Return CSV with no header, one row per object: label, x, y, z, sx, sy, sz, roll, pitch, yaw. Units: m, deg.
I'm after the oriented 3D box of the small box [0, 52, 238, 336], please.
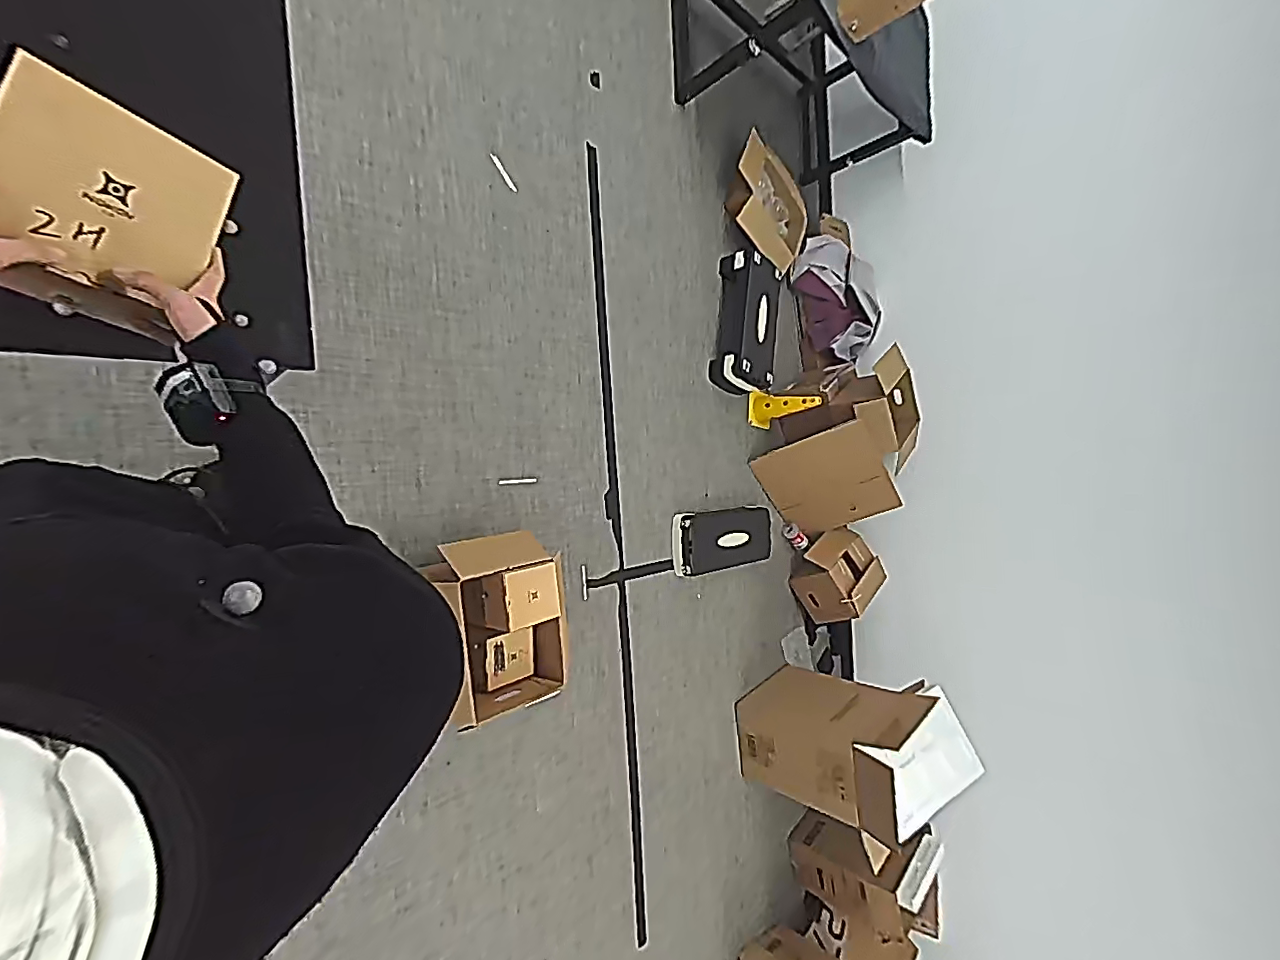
small box,-0.559,-0.269,0.558,0.168,0.176,0.179,22,76,-49
